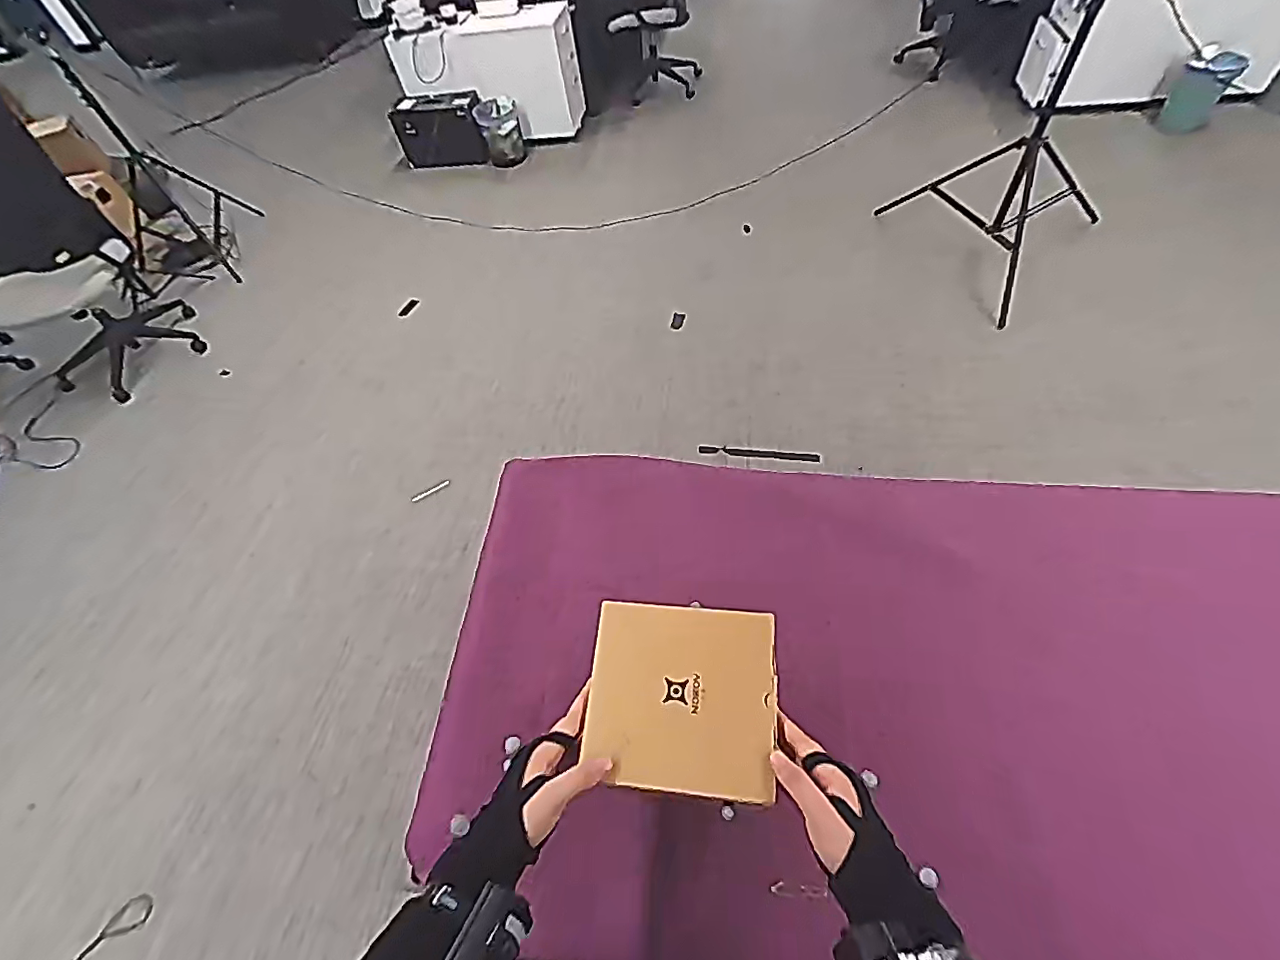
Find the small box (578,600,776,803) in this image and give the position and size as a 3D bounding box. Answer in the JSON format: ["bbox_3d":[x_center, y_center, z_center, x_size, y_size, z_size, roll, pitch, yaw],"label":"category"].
[{"bbox_3d":[0.046,0.239,0.576,0.179,0.176,0.168,3,58,7],"label":"small box"}]
